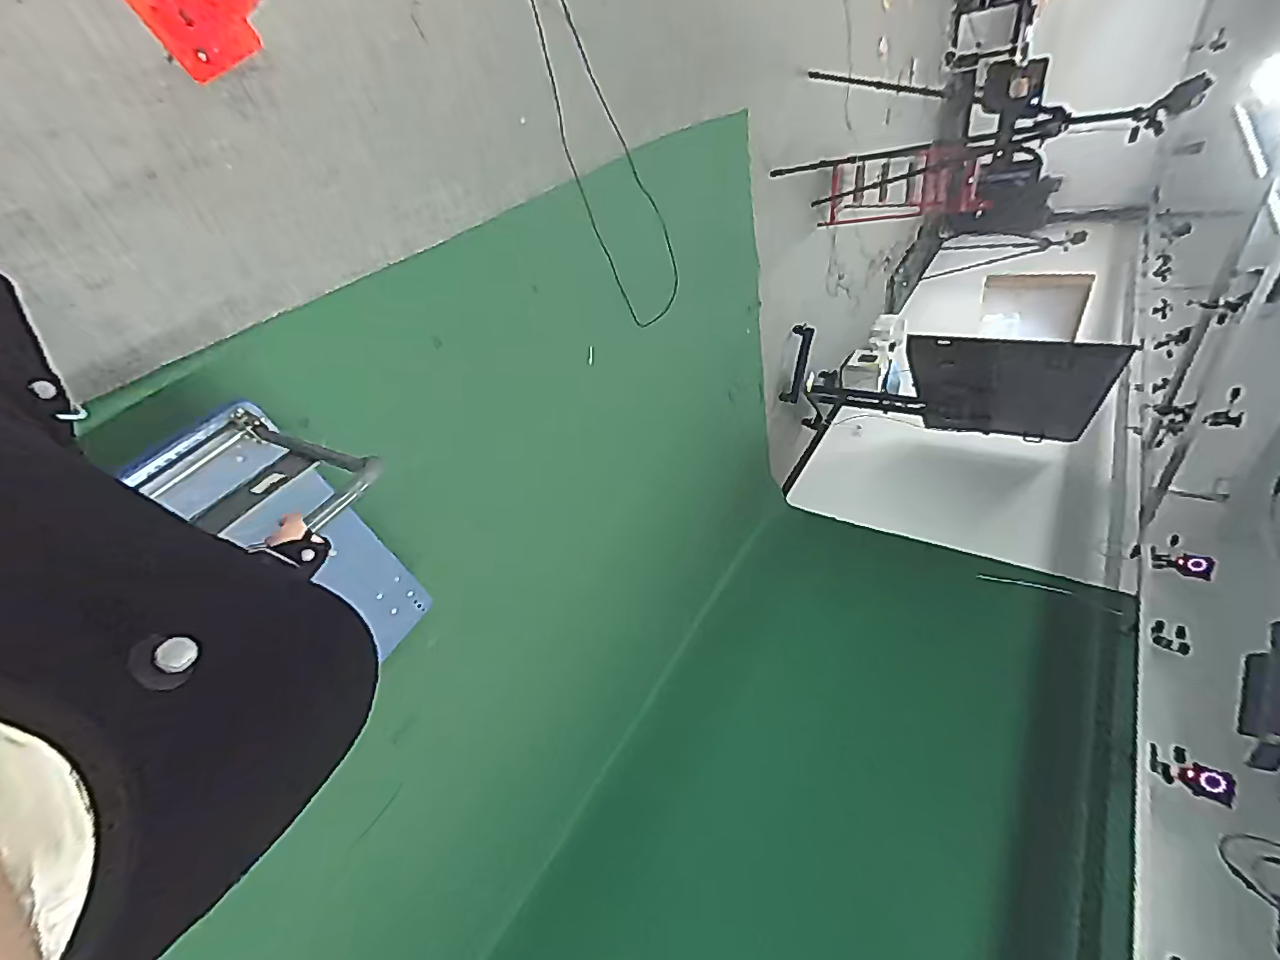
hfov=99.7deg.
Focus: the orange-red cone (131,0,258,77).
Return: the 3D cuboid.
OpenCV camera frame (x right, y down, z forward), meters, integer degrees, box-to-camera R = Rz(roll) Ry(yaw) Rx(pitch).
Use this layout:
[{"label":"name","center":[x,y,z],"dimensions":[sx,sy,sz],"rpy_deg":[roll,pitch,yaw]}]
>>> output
[{"label":"orange-red cone","center":[-0.829,-0.980,1.076],"dimensions":[0.199,0.360,0.198],"rpy_deg":[-60,145,-24]}]
